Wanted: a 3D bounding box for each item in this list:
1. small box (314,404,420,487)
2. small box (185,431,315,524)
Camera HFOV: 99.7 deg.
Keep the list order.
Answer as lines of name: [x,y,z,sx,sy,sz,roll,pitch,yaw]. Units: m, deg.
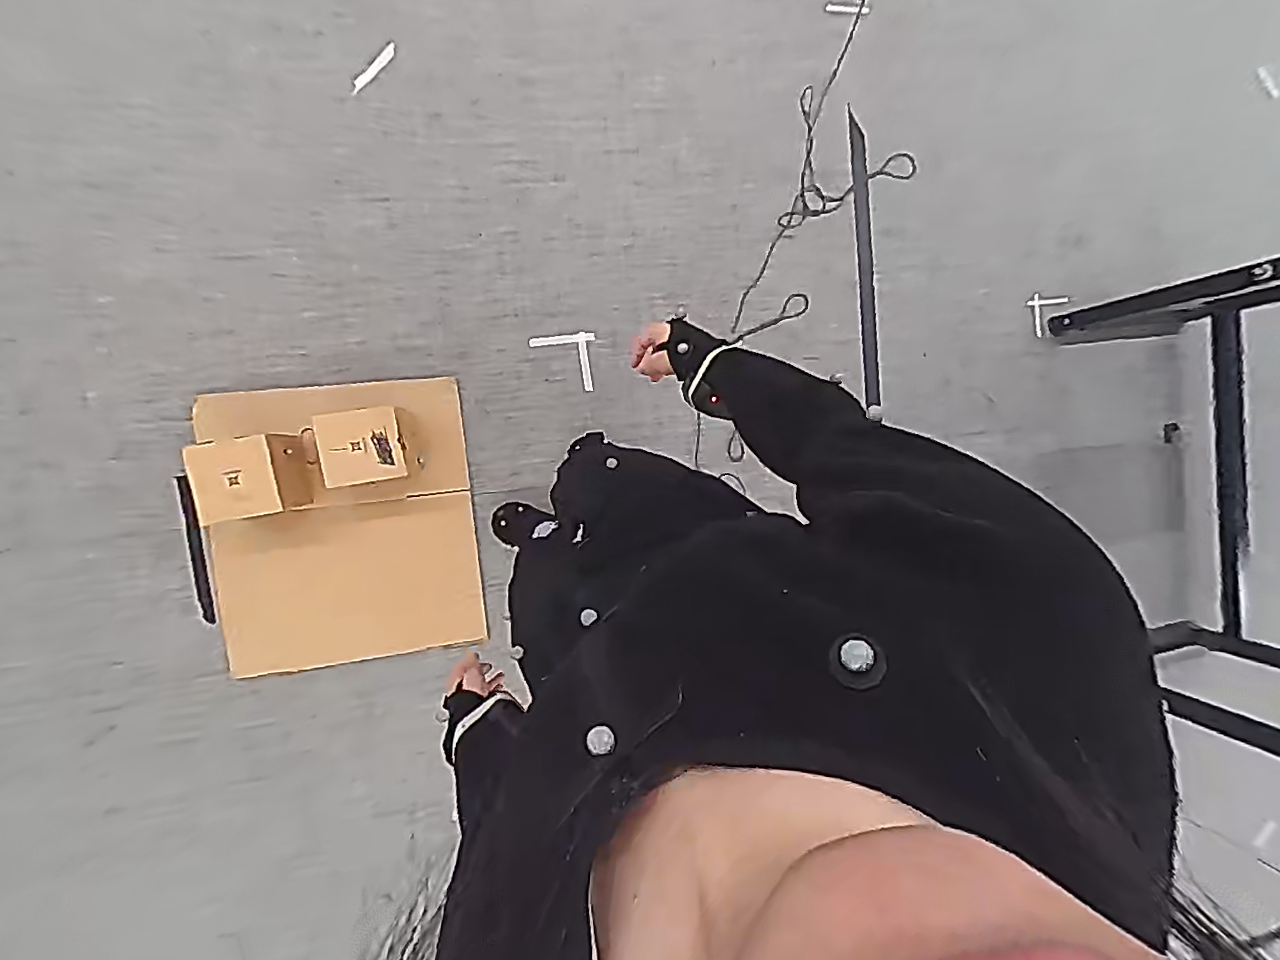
small box: [-0.631,-0.083,1.276,0.179,0.176,0.168,-10,95,-10]
small box: [-0.877,-0.009,1.233,0.168,0.176,0.179,-13,96,-9]
